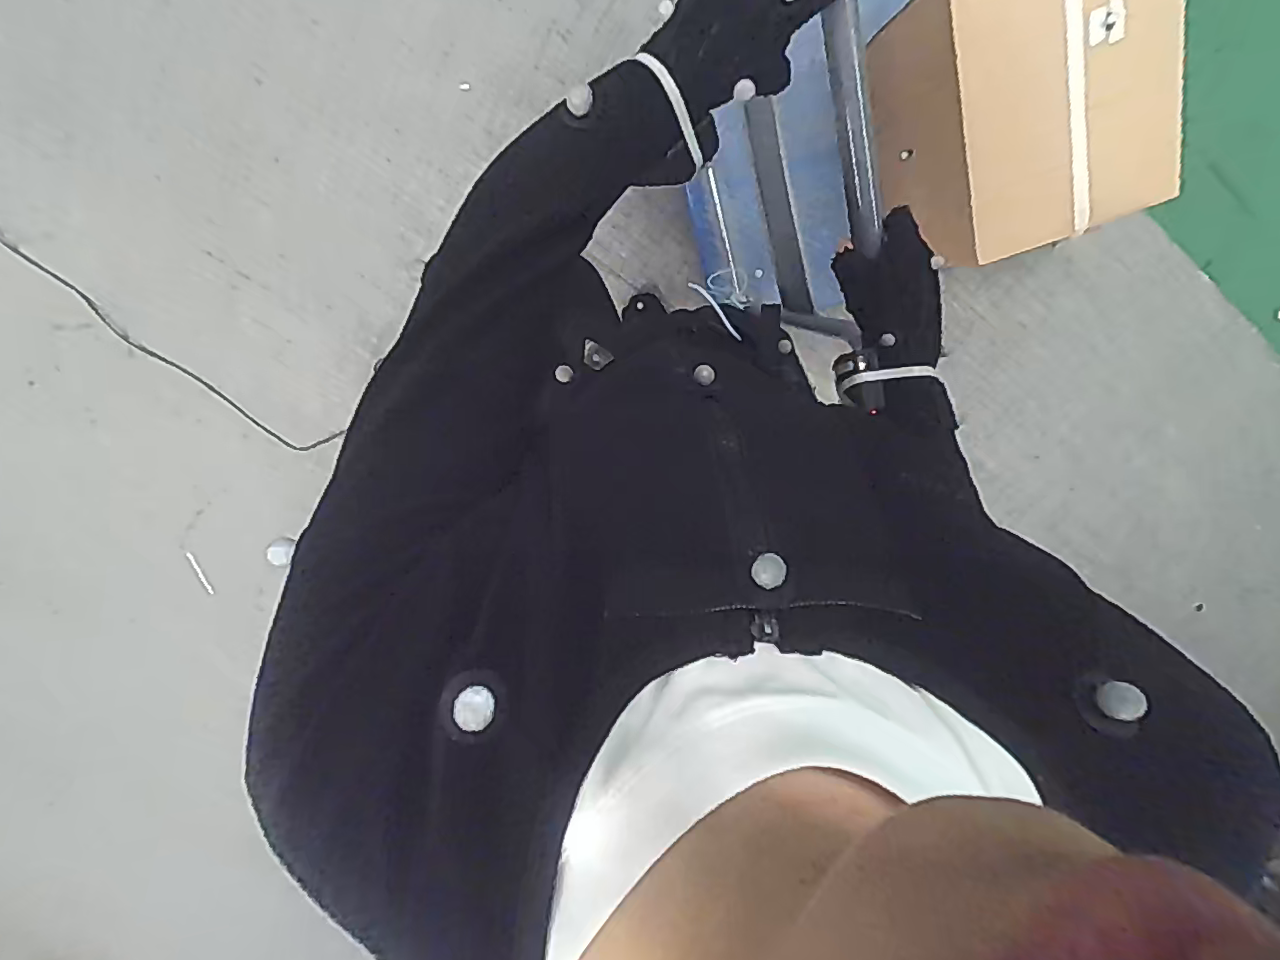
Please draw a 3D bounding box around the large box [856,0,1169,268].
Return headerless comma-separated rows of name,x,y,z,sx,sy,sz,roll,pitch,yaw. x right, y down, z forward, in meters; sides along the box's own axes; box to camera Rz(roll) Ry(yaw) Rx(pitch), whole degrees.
large box,0.610,-0.619,0.930,0.320,0.320,0.408,-18,109,6
